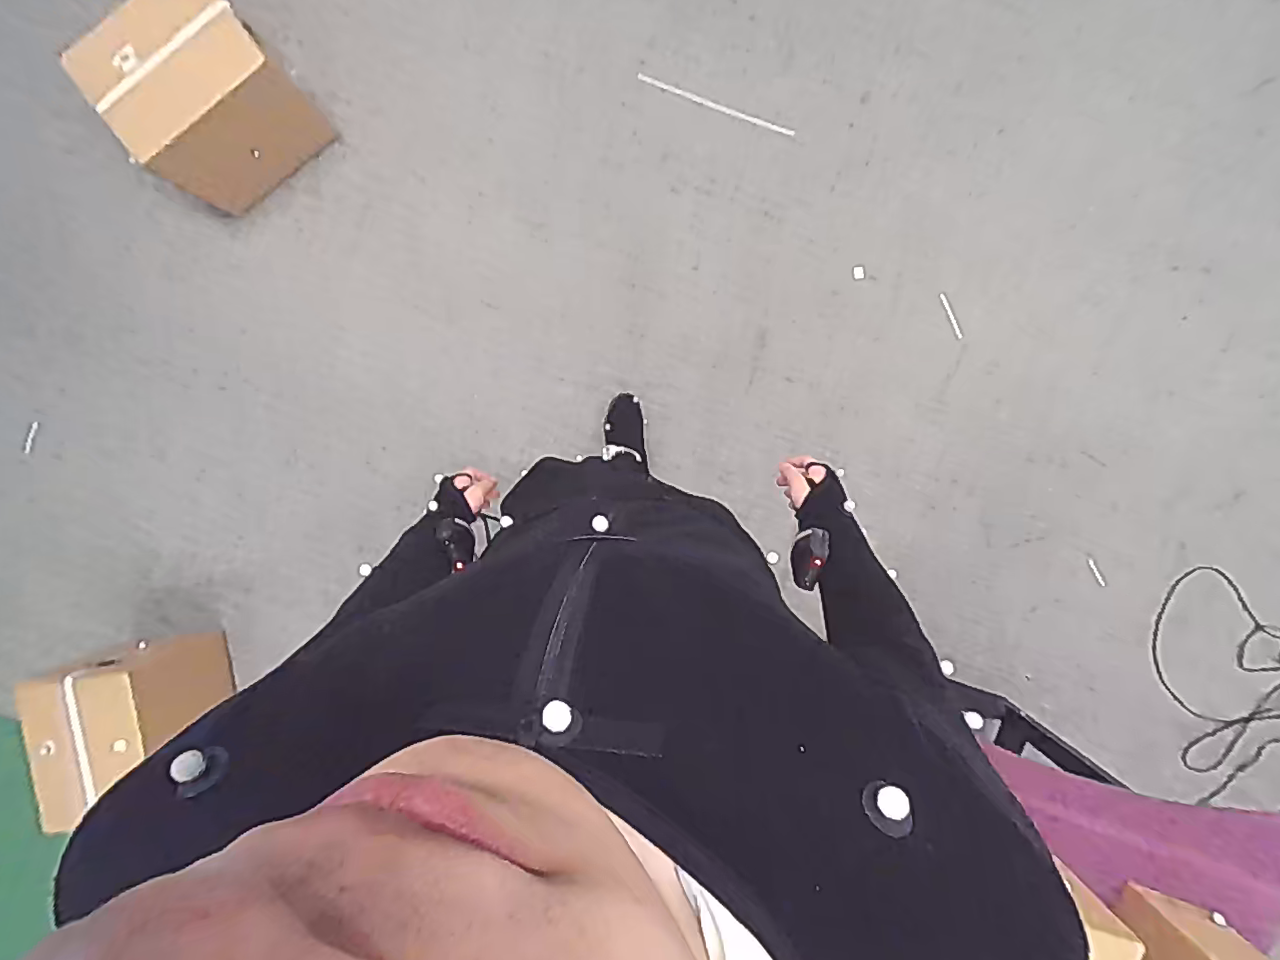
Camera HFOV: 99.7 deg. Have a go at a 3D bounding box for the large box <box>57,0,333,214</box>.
[{"bbox_3d":[-1.125,-0.999,1.414,0.408,0.320,0.320,-37,92,4],"label":"large box"}]

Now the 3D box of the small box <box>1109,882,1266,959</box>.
[{"bbox_3d":[0.874,0.796,0.857,0.168,0.176,0.179,21,95,0],"label":"small box"}]

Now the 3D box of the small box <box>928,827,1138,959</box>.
[{"bbox_3d":[0.602,0.693,0.852,0.179,0.176,0.168,19,95,-2],"label":"small box"}]
